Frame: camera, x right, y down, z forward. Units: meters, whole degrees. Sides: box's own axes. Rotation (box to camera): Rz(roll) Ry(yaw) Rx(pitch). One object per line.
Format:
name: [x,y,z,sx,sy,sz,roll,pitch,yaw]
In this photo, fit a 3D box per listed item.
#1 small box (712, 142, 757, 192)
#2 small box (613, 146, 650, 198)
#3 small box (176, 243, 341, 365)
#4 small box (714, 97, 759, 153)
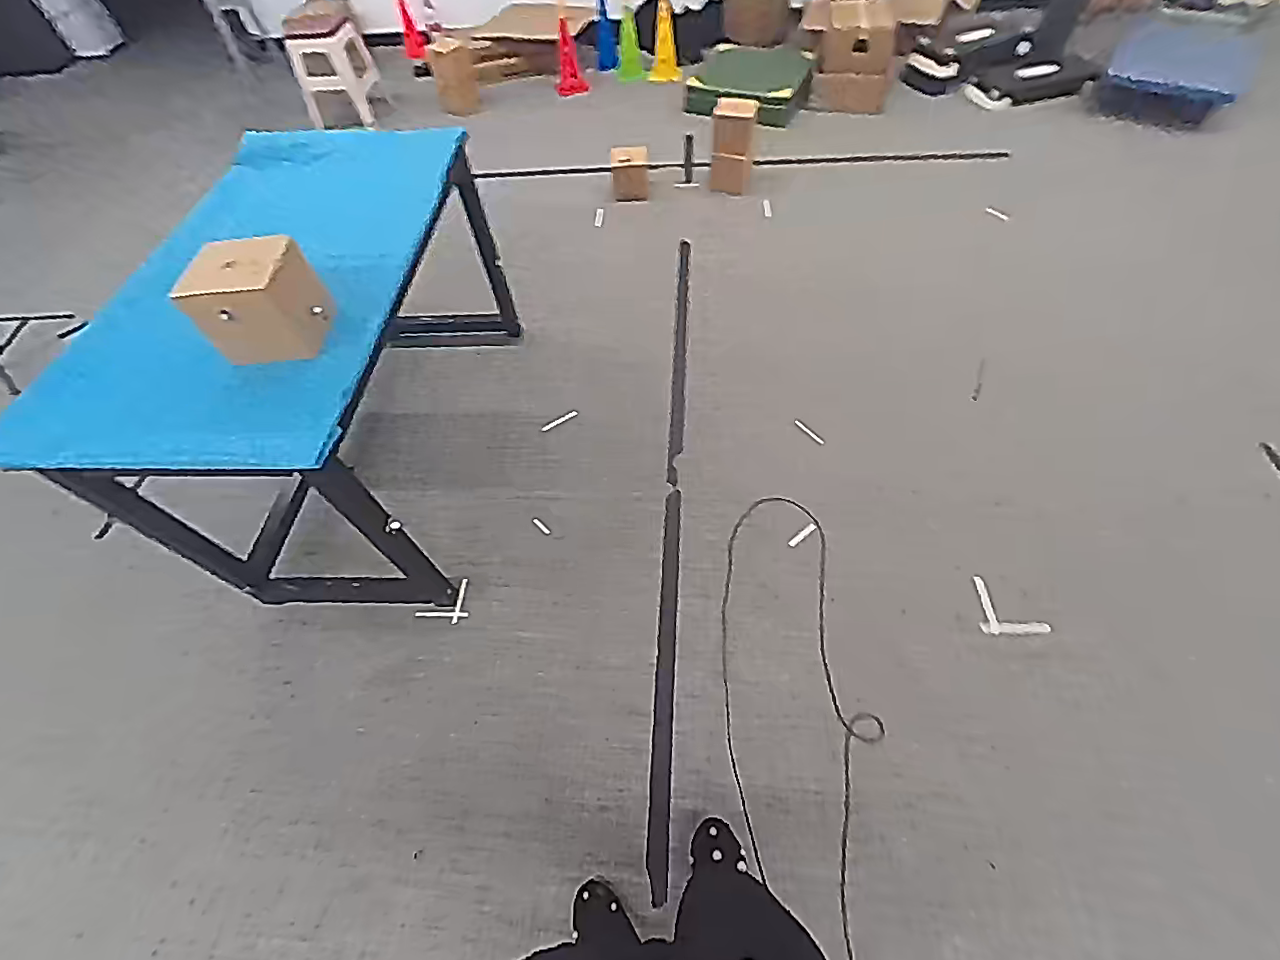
small box: [0.455,-1.529,2.628,0.179,0.176,0.168,15,58,12]
small box: [-0.038,-1.504,2.650,0.168,0.176,0.179,-1,55,4]
small box: [-0.736,-0.342,1.066,0.179,0.176,0.168,0,57,2]
small box: [0.444,-1.643,2.507,0.179,0.176,0.168,13,59,12]
